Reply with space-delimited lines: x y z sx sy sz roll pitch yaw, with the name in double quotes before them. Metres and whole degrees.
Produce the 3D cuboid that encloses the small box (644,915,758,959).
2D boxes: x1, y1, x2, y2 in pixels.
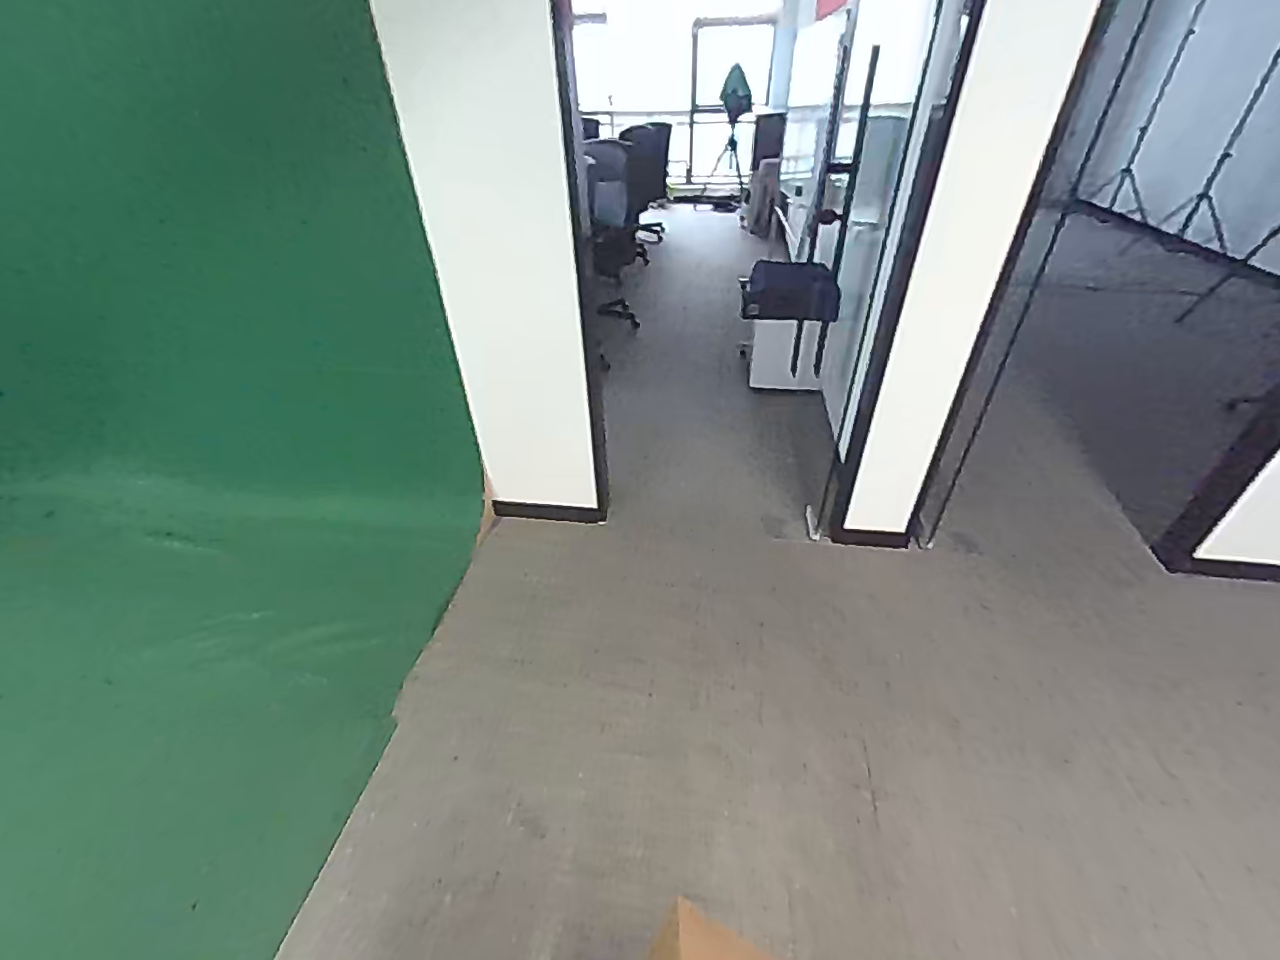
"small box" 0.067 0.521 0.444 0.179 0.176 0.168 31 85 5
